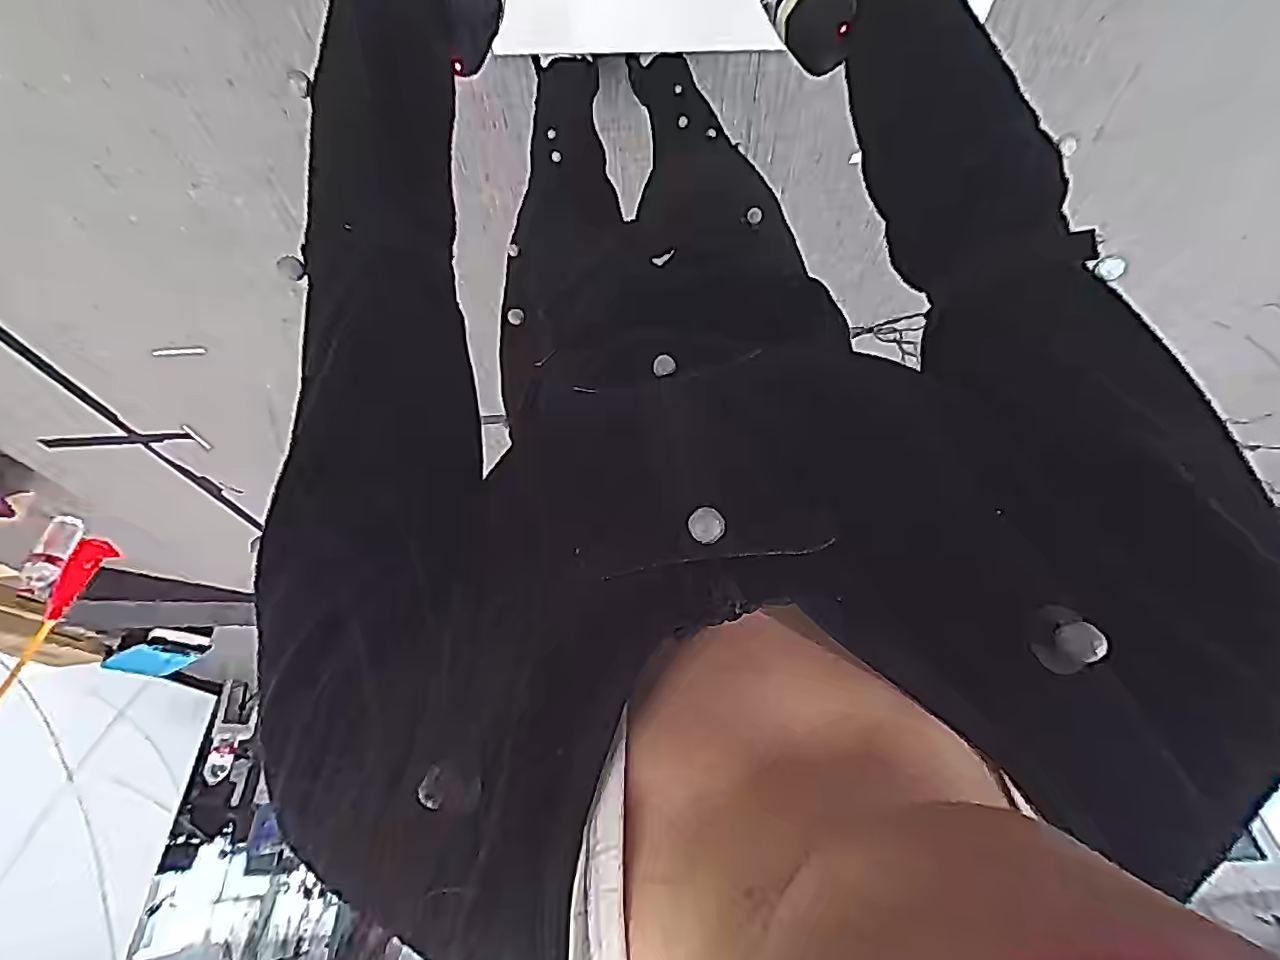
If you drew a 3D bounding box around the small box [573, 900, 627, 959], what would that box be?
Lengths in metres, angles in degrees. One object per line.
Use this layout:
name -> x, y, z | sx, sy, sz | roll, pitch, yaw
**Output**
small box -> -0.126, 1.482, 1.752 | 0.168, 0.176, 0.179 | -4, 148, -2
